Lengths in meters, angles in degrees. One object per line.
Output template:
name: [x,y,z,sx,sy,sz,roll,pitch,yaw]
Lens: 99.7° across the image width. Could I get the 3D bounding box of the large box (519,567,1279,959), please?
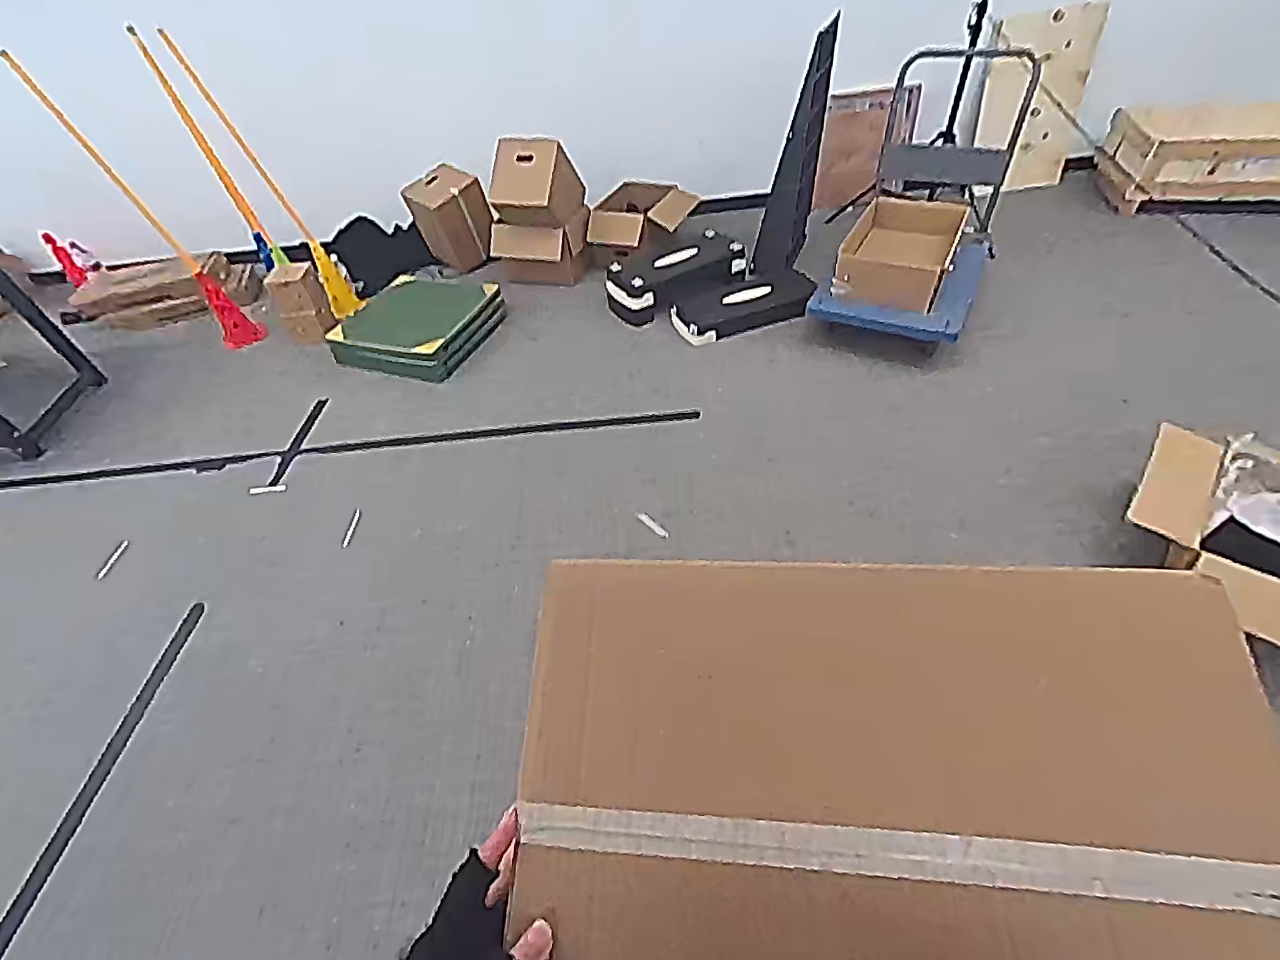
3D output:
large box: [0.151,0.258,0.434,0.408,0.320,0.320,0,69,9]
